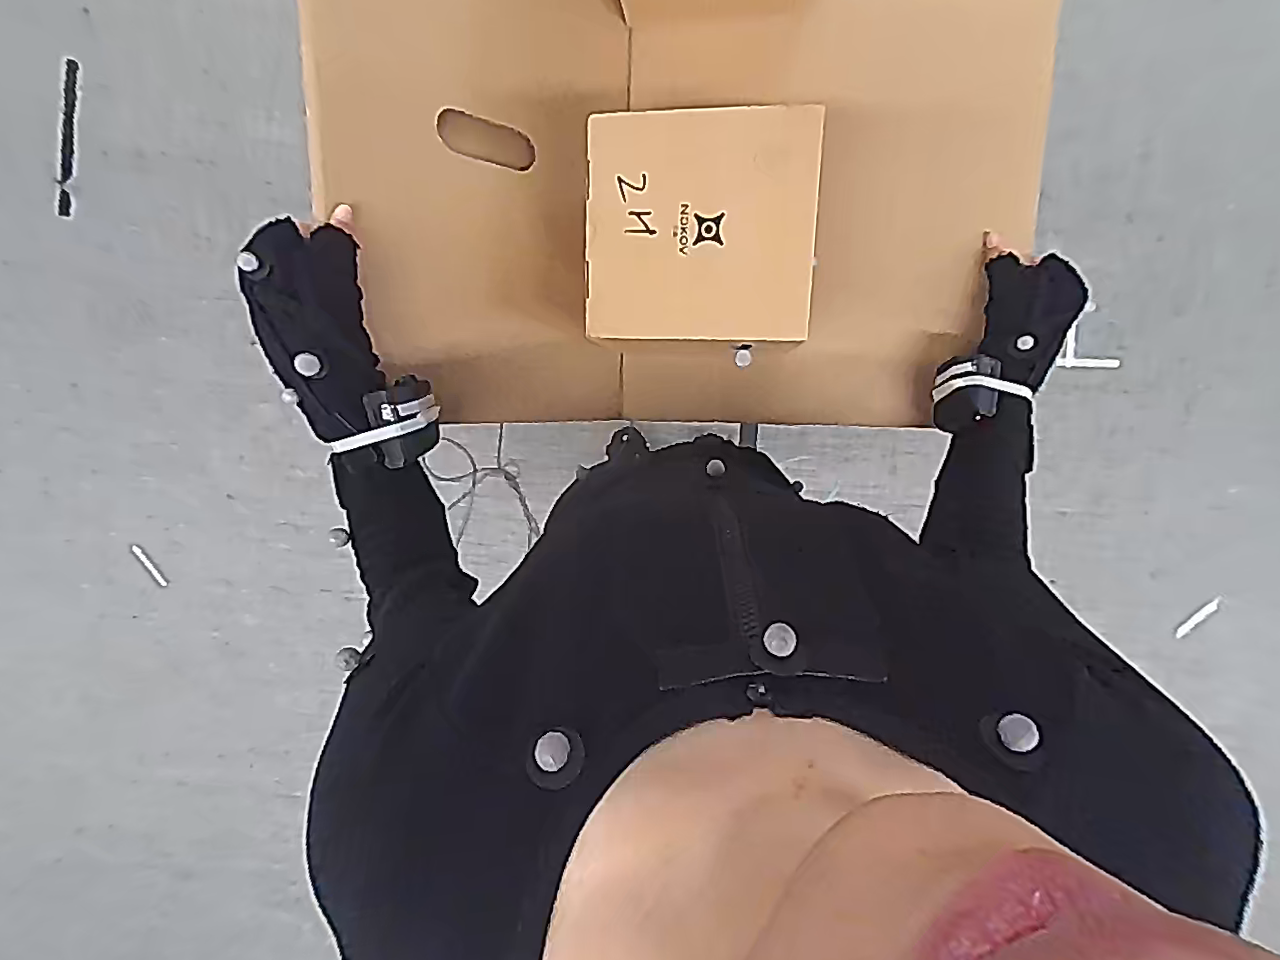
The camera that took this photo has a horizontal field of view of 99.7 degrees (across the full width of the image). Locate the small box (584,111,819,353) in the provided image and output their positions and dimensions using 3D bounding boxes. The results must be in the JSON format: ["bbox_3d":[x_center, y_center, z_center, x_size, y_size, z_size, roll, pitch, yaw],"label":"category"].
[{"bbox_3d":[0.054,-0.208,0.497,0.179,0.176,0.168,3,99,9],"label":"small box"}]
